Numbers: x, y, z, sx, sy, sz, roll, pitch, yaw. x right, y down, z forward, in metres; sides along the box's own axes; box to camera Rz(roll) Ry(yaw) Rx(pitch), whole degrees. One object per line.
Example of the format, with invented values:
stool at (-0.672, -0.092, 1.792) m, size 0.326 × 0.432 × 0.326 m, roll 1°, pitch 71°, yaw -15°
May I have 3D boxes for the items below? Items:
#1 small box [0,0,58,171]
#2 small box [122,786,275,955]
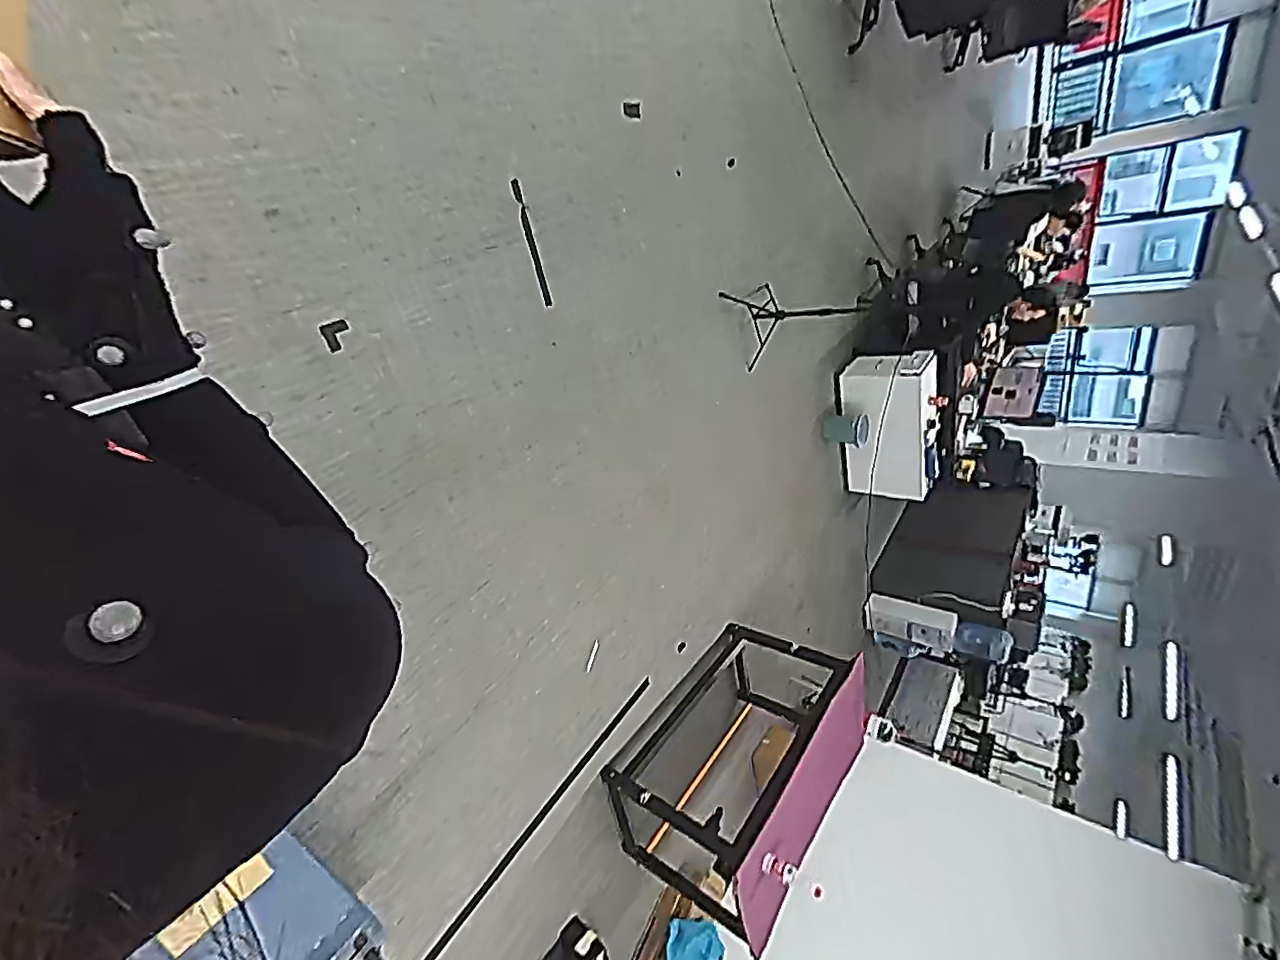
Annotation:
small box at (-0.440, -0.255, 0.240) m, size 0.179 × 0.168 × 0.176 m, roll -35°, pitch 122°, yaw -78°
small box at (-0.878, 0.761, 1.072) m, size 0.179 × 0.176 × 0.168 m, roll -36°, pitch 124°, yaw -42°
